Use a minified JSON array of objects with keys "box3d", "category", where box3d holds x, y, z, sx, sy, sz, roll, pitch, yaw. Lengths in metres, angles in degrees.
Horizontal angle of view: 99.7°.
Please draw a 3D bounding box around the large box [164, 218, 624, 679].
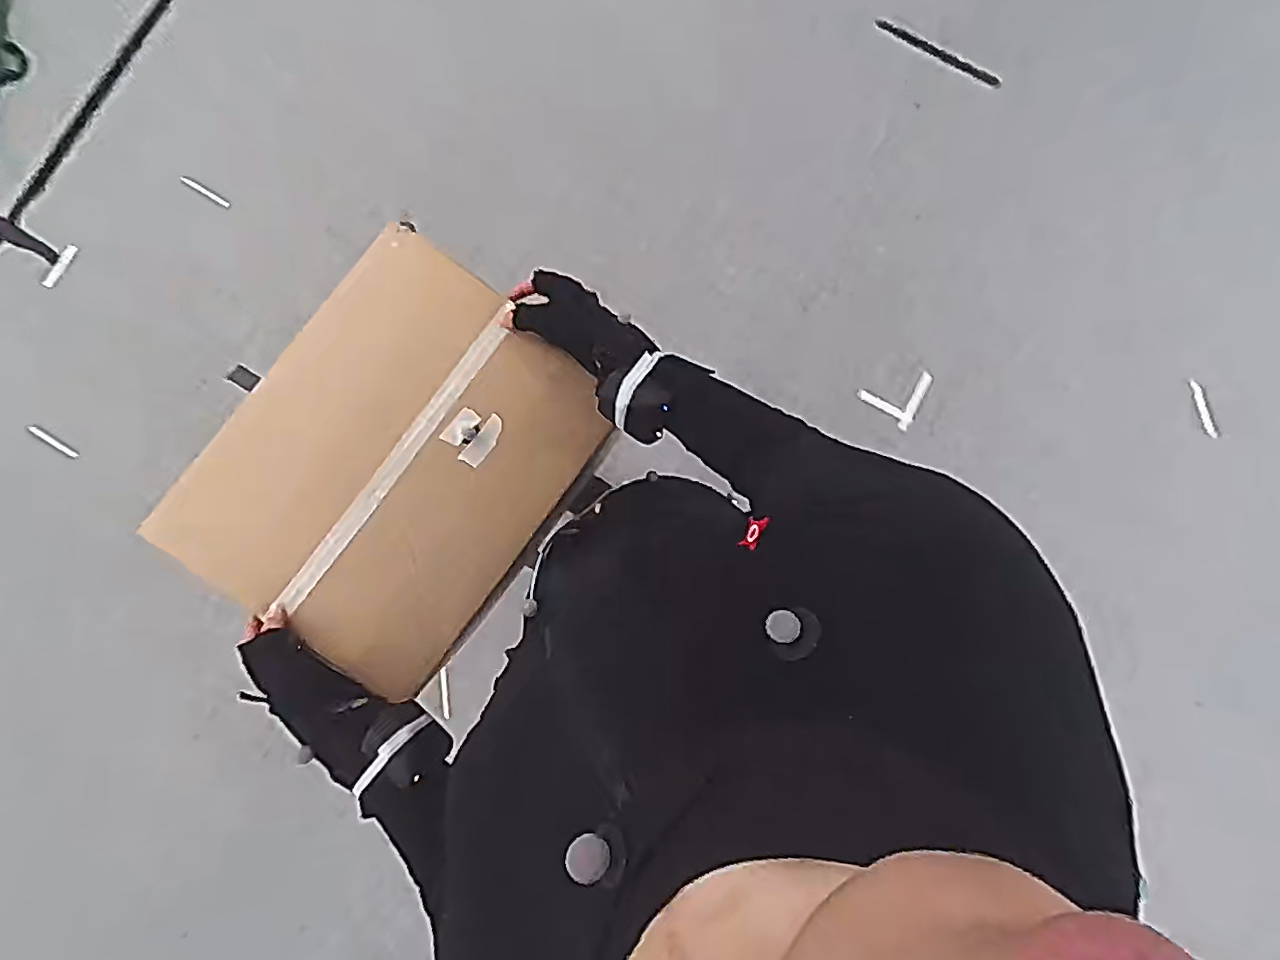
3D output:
[{"box3d":[-0.265,-0.029,0.720,0.320,0.320,0.408,37,85,-3],"category":"large box"}]
